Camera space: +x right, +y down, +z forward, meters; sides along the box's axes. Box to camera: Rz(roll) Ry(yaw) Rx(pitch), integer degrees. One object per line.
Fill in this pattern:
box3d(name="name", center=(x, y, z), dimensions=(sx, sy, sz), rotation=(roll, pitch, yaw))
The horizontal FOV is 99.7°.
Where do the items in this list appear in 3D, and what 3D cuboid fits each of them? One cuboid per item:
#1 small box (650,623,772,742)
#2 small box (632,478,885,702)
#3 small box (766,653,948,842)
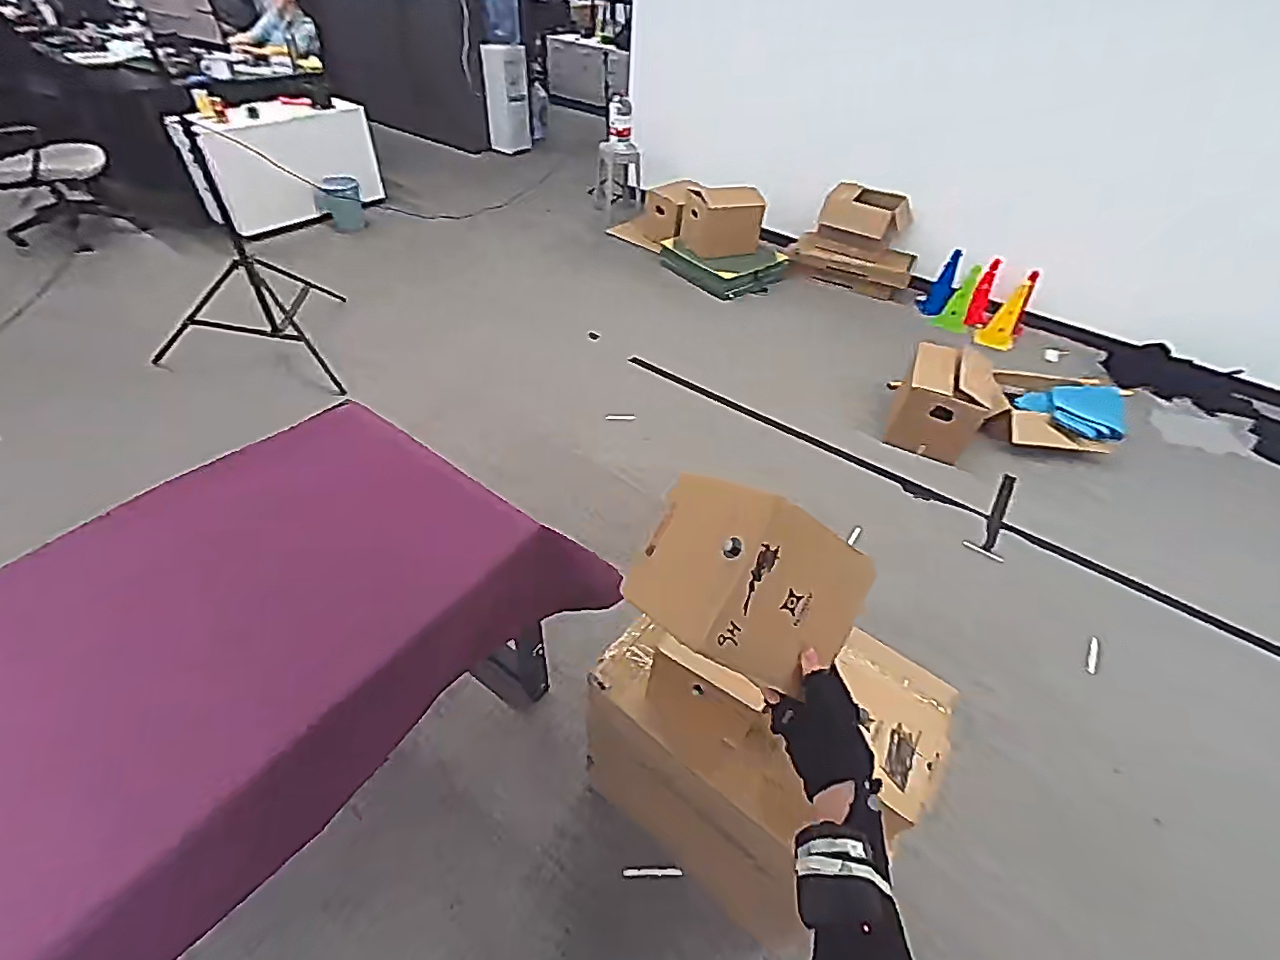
box3d(name="small box", center=(0.130, 0.293, 0.885), dimensions=(0.179, 0.176, 0.168), rotation=(27, 50, 19))
box3d(name="small box", center=(0.124, 0.111, 0.603), dimensions=(0.168, 0.179, 0.176), rotation=(-61, 27, -7))
box3d(name="small box", center=(0.310, 0.394, 0.797), dimensions=(0.179, 0.176, 0.168), rotation=(29, 50, 25))
